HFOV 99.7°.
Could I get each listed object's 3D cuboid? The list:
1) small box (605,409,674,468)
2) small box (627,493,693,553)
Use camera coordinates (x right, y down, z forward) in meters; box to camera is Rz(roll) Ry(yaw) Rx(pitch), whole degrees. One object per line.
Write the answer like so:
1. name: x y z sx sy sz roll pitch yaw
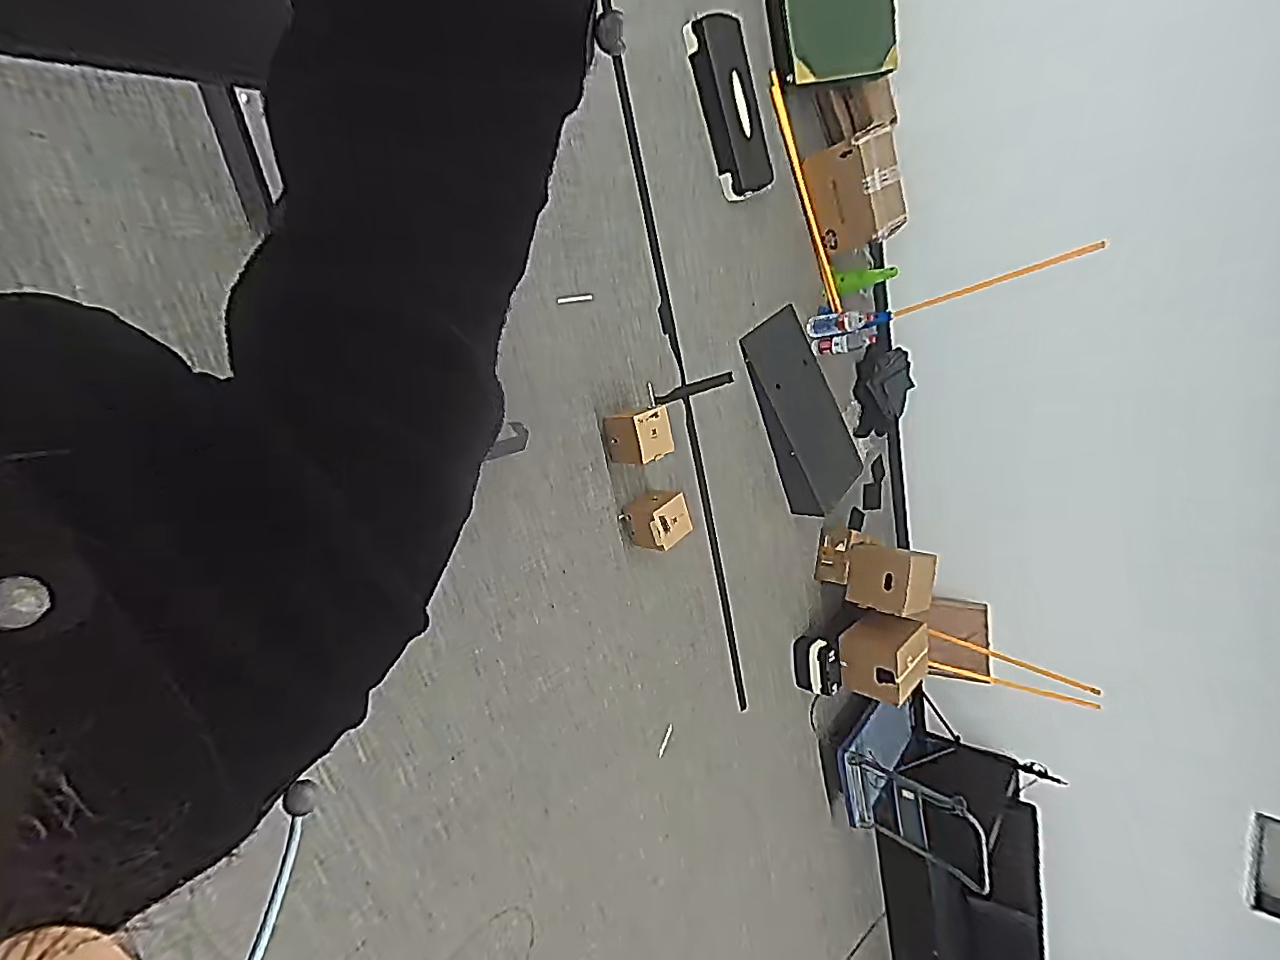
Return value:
1. small box: -0.004 -0.155 1.966 0.168 0.176 0.179 -25 110 -40
2. small box: 0.069 0.159 2.058 0.179 0.176 0.168 -33 115 -38
